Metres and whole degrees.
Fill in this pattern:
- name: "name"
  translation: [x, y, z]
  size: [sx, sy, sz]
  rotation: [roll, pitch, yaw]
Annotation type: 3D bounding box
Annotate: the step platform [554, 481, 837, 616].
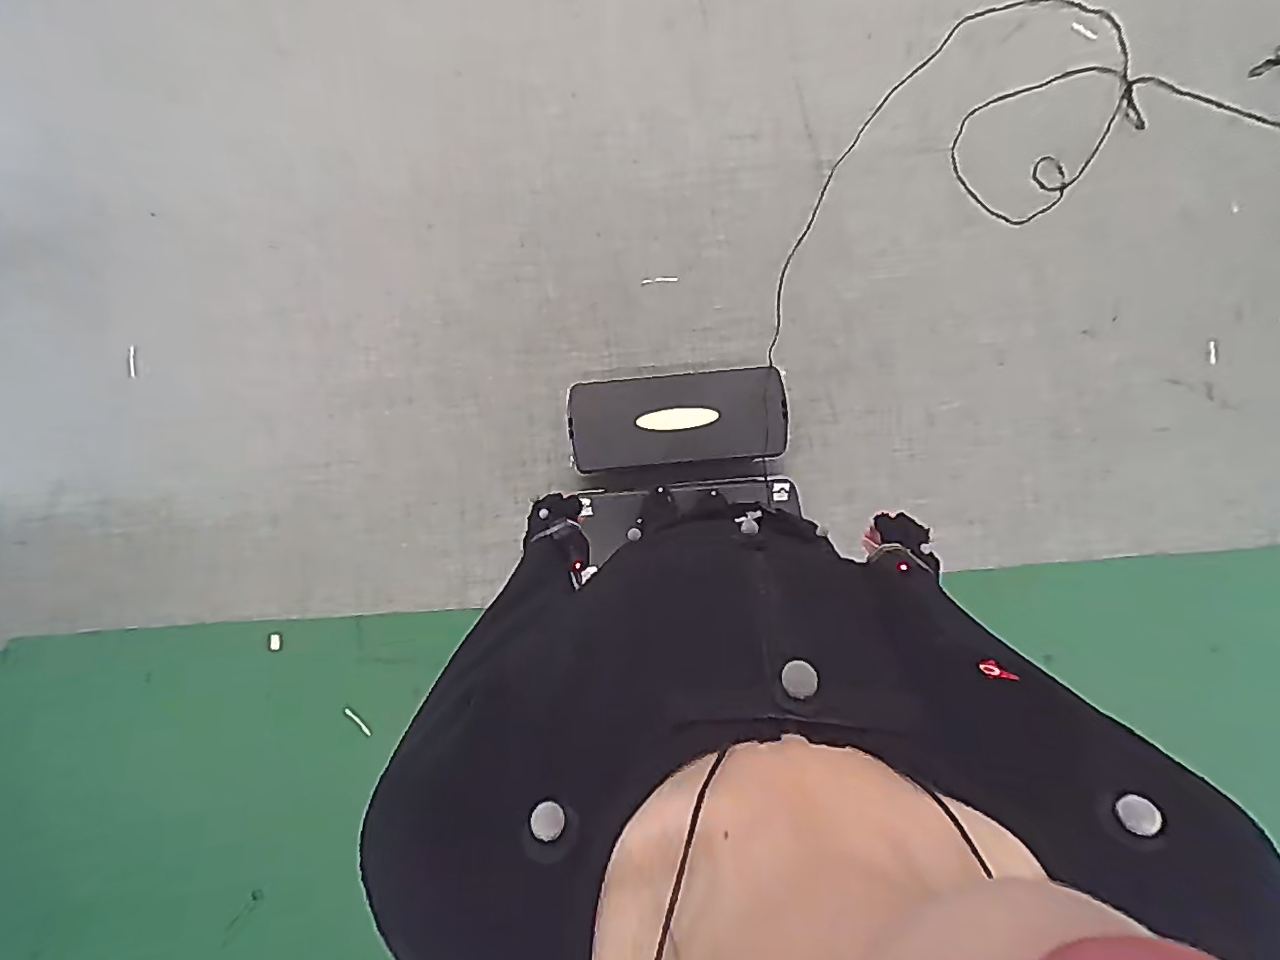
- name: "step platform"
  translation: [0.133, 0.169, 1.395]
  size: [0.684, 0.204, 0.286]
  rotation: [-5, 88, 1]
